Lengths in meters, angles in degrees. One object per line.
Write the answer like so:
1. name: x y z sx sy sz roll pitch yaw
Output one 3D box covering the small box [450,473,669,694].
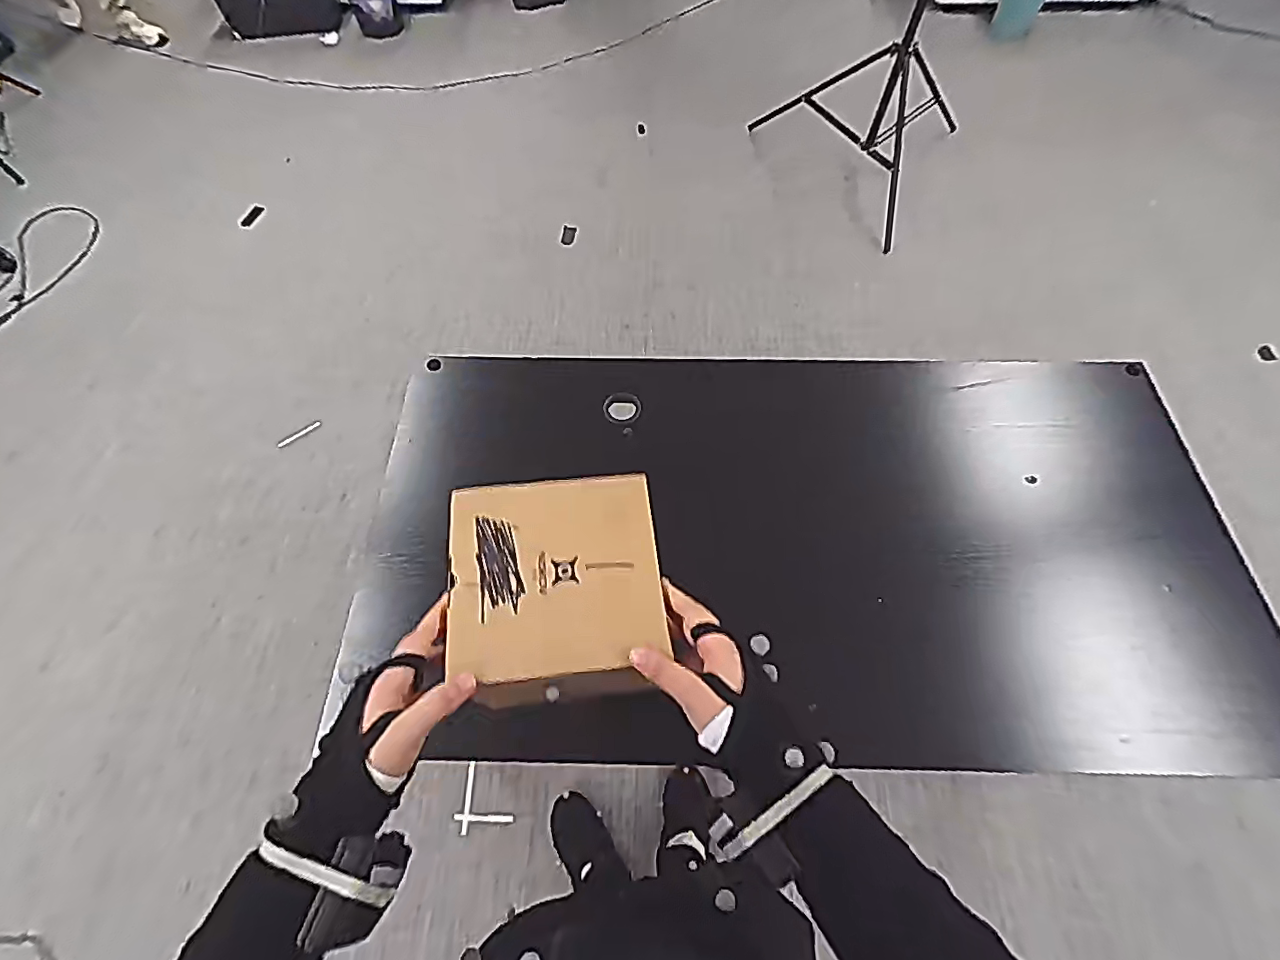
1. small box: -0.072 0.109 0.529 0.179 0.176 0.168 -5 65 -5
